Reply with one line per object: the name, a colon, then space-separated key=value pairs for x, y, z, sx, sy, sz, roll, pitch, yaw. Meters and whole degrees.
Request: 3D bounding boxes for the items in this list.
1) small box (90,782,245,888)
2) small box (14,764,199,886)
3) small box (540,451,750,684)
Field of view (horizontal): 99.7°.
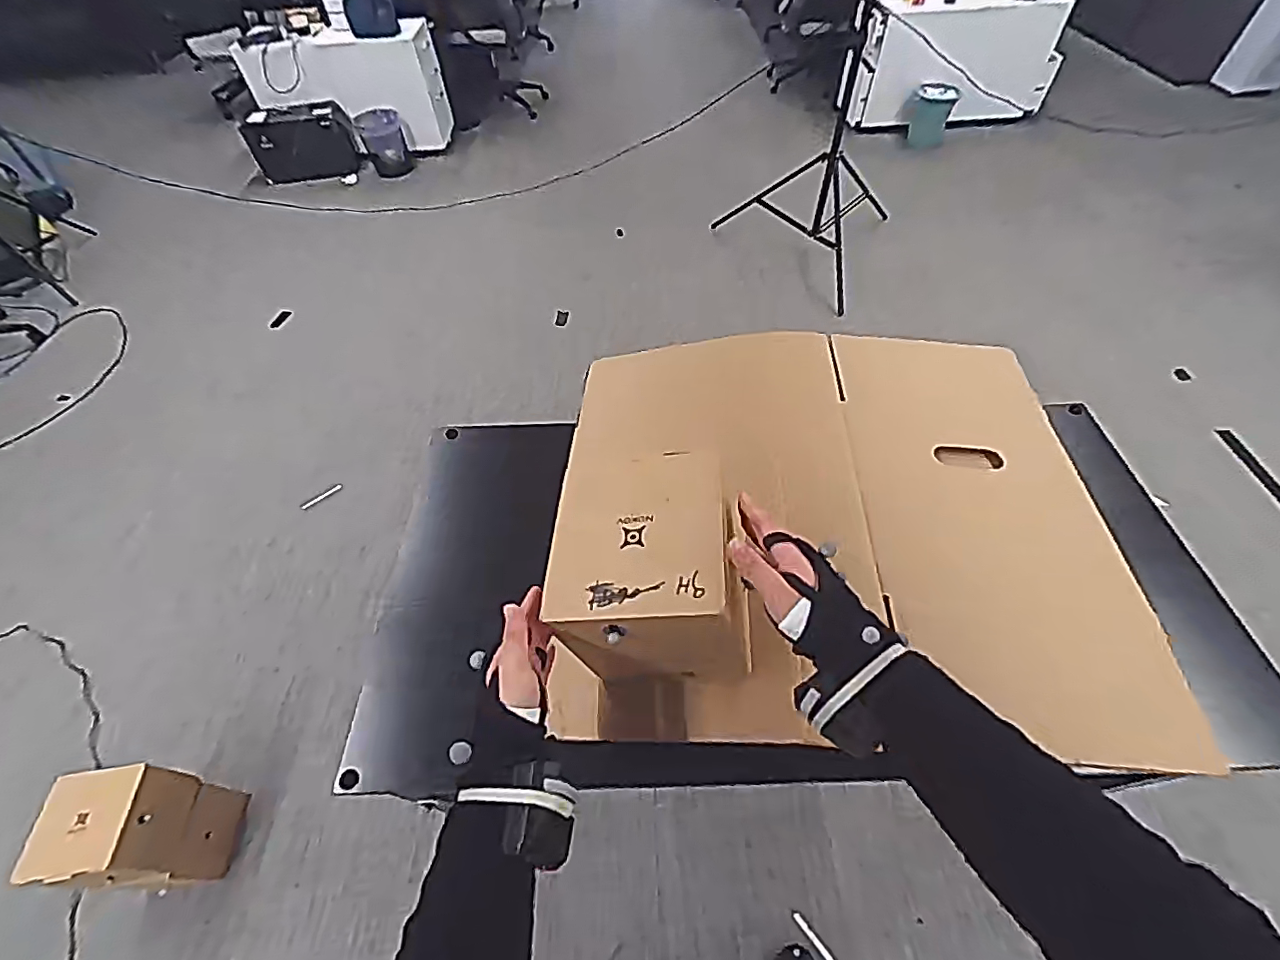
small box: x=-1.020 y=0.784 z=1.191 sx=0.168 sy=0.176 sz=0.179 roll=-5 pitch=54 yaw=-1
small box: x=-1.028 y=0.681 z=1.065 sx=0.168 sy=0.176 sz=0.179 roll=-7 pitch=52 yaw=-4
small box: x=0.020 y=0.095 z=0.560 sx=0.168 sy=0.176 sz=0.179 roll=-7 pitch=51 yaw=16
